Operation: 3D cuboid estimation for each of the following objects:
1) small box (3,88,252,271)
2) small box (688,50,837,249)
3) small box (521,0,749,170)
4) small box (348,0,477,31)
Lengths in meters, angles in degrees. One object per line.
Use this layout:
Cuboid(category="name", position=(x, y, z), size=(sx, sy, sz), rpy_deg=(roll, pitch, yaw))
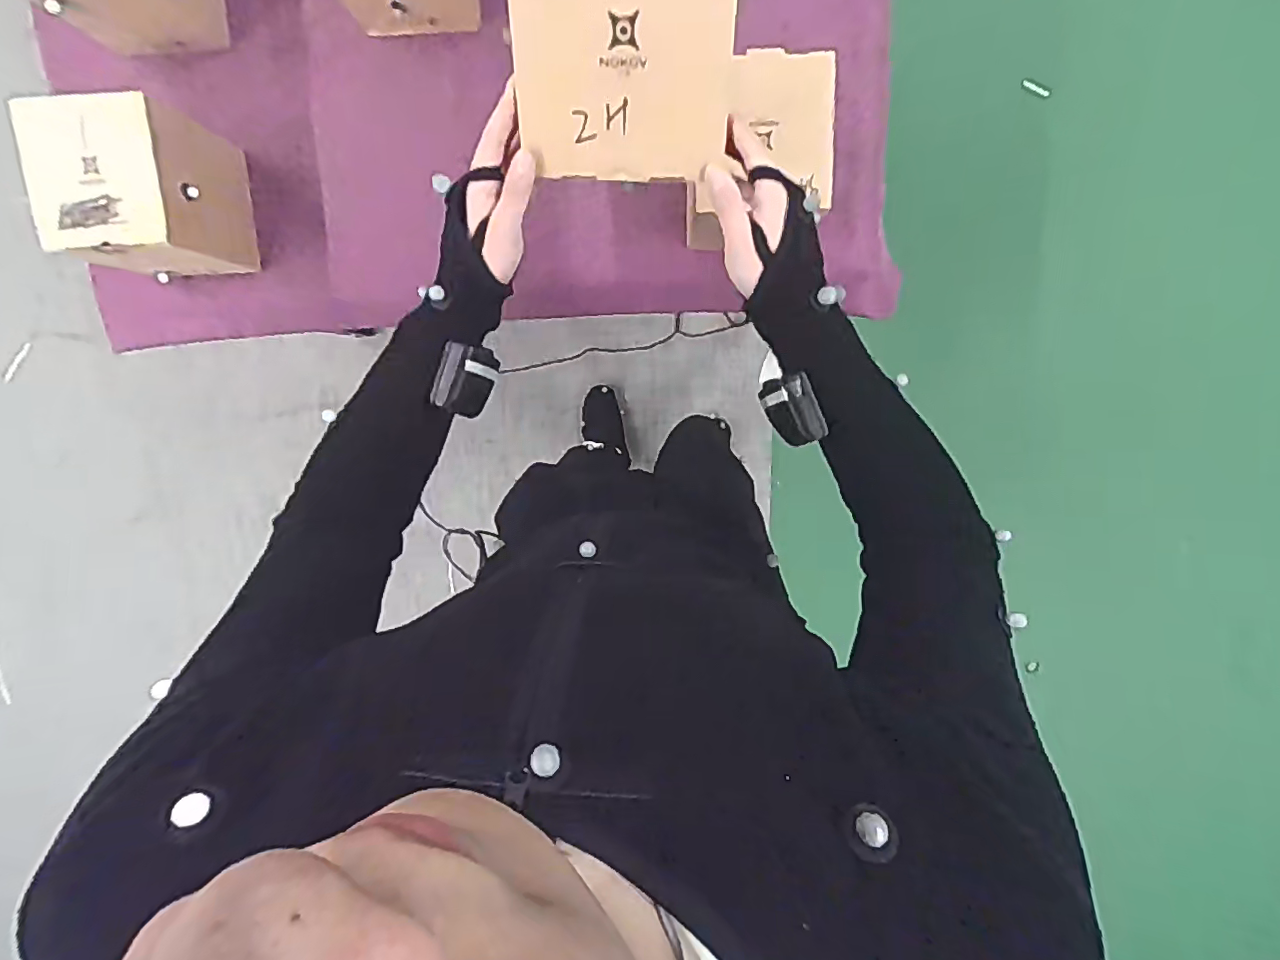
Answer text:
Cuboid(category="small box", position=(-0.666, -0.387, 0.730), size=(0.168, 0.176, 0.179), rpy_deg=(-2, 100, 0))
Cuboid(category="small box", position=(0.150, -0.422, 0.718), size=(0.168, 0.176, 0.179), rpy_deg=(-1, 98, 2))
Cuboid(category="small box", position=(-0.002, -0.369, 0.460), size=(0.168, 0.176, 0.179), rpy_deg=(3, 122, 2))
Cuboid(category="small box", position=(-0.313, -0.710, 0.672), size=(0.168, 0.176, 0.179), rpy_deg=(-3, 101, 0))
